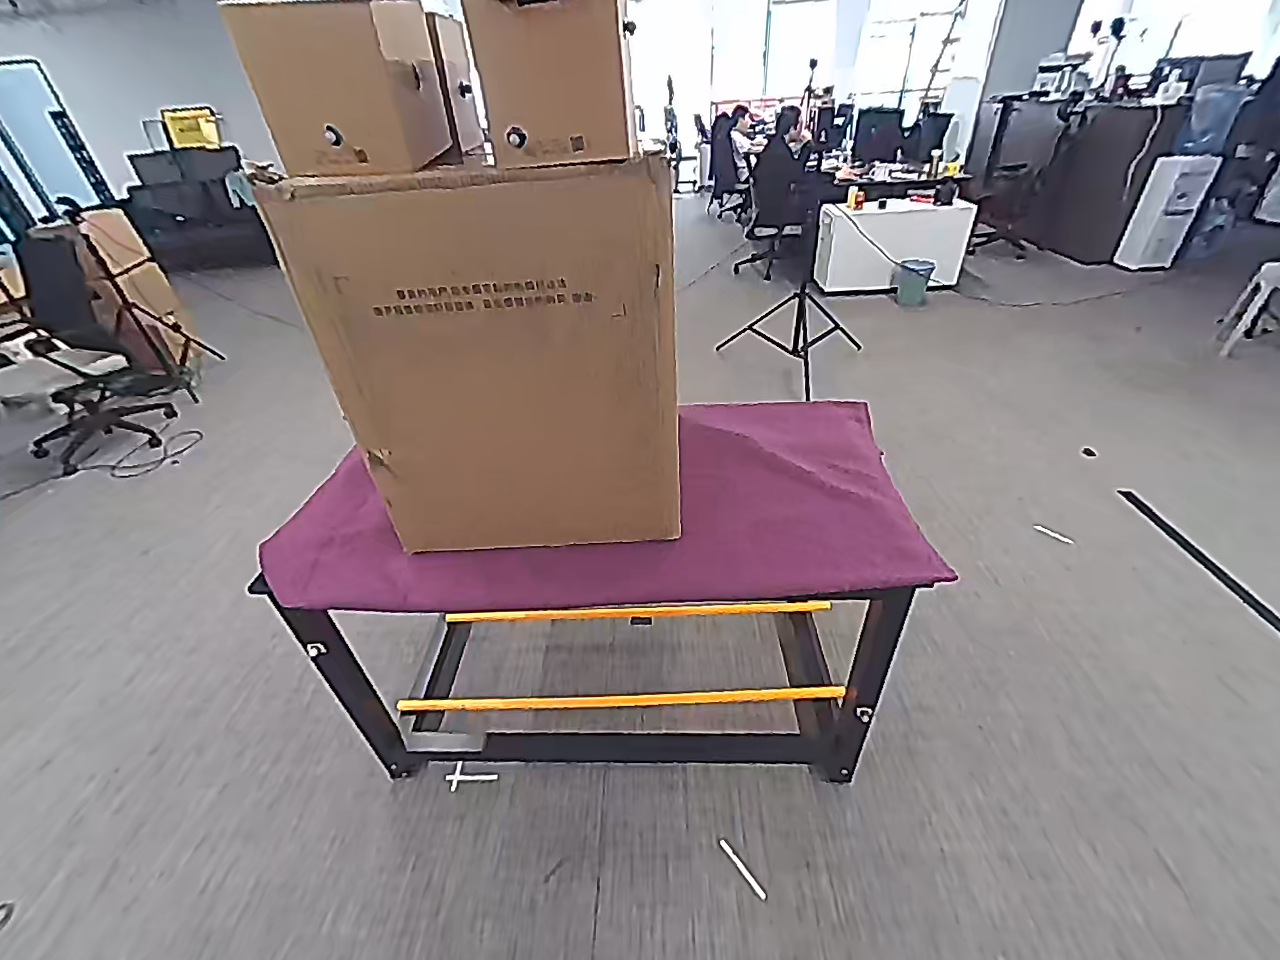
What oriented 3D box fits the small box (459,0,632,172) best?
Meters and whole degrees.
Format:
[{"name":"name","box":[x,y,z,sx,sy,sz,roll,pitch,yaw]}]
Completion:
[{"name":"small box","box":[-0.098,-0.485,0.663,0.168,0.176,0.179,-3,38,3]}]
